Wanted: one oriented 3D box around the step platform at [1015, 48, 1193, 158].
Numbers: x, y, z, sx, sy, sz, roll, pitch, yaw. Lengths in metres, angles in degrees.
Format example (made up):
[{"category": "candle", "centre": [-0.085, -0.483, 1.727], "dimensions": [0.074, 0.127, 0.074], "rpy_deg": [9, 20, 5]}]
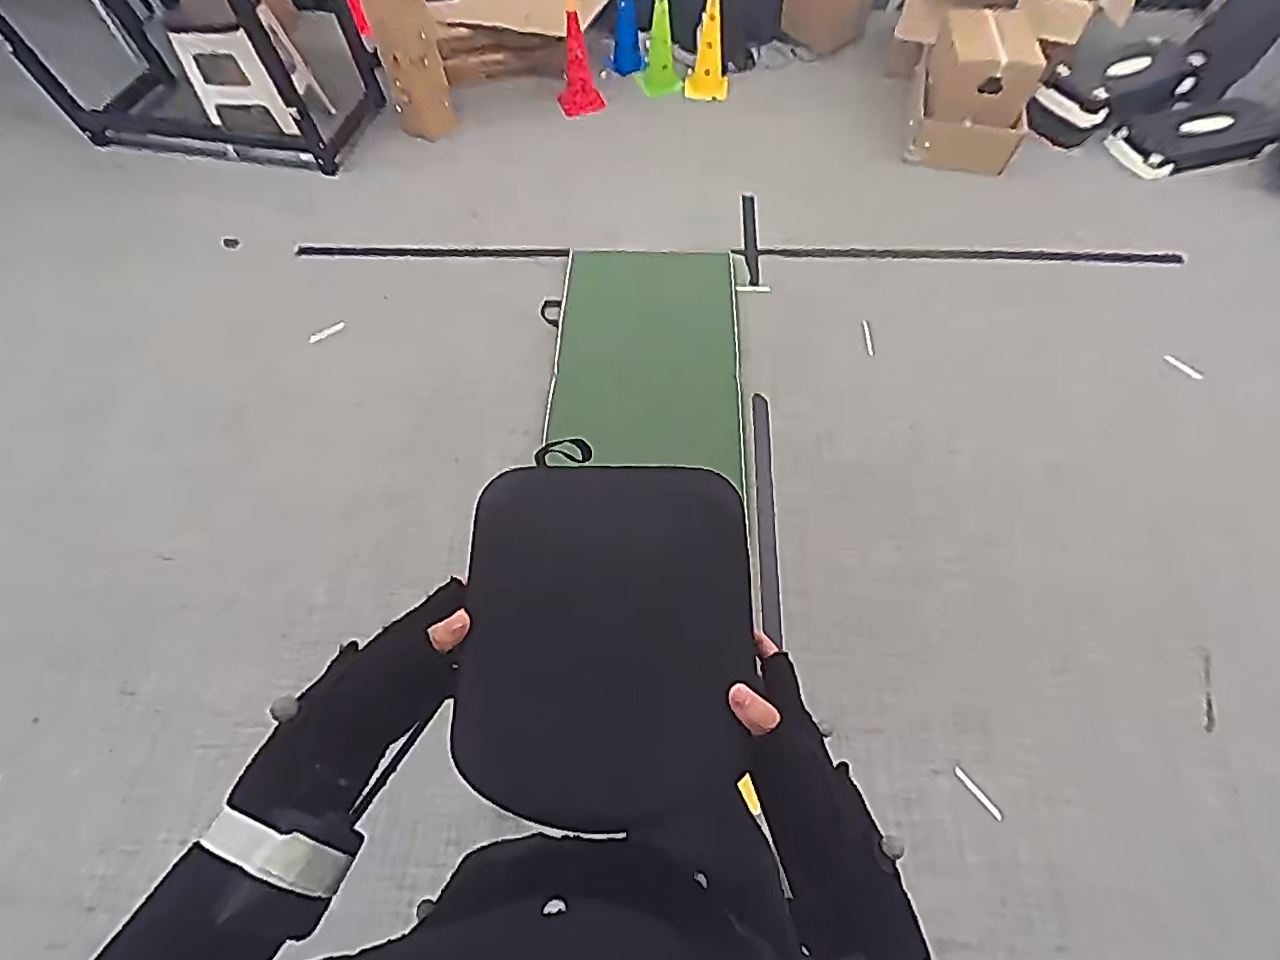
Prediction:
[{"category": "step platform", "centre": [2.037, -1.663, 2.377], "dimensions": [0.684, 0.204, 0.286], "rpy_deg": [-25, 65, -11]}]
